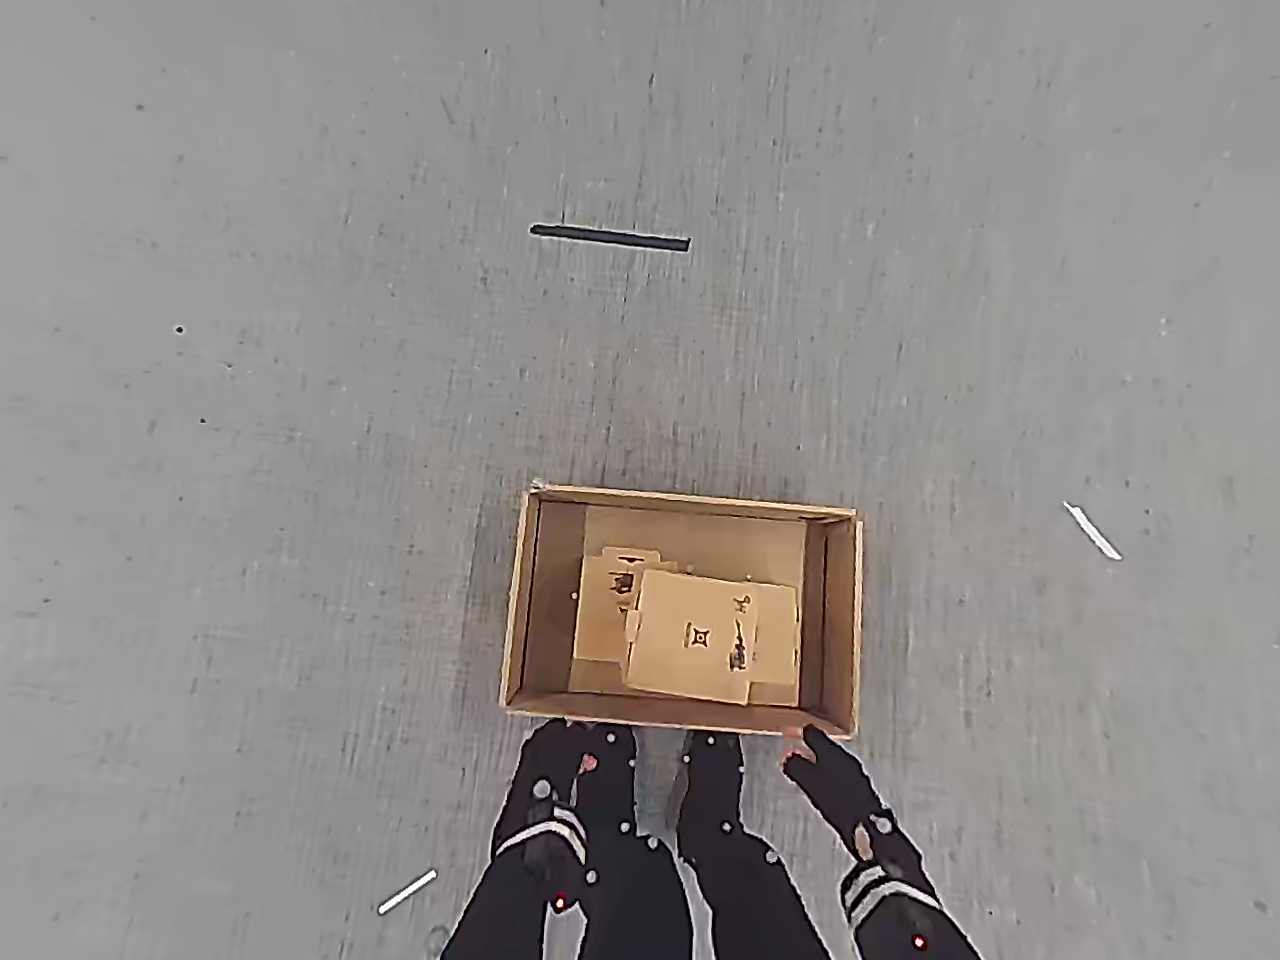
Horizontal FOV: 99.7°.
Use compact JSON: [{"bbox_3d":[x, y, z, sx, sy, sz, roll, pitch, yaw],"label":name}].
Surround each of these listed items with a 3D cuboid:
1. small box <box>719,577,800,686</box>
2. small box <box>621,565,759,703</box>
[{"bbox_3d":[0.180,0.269,0.997,0.179,0.176,0.168,6,81,0],"label":"small box"},{"bbox_3d":[0.069,0.227,0.833,0.179,0.176,0.168,9,81,-2],"label":"small box"}]
